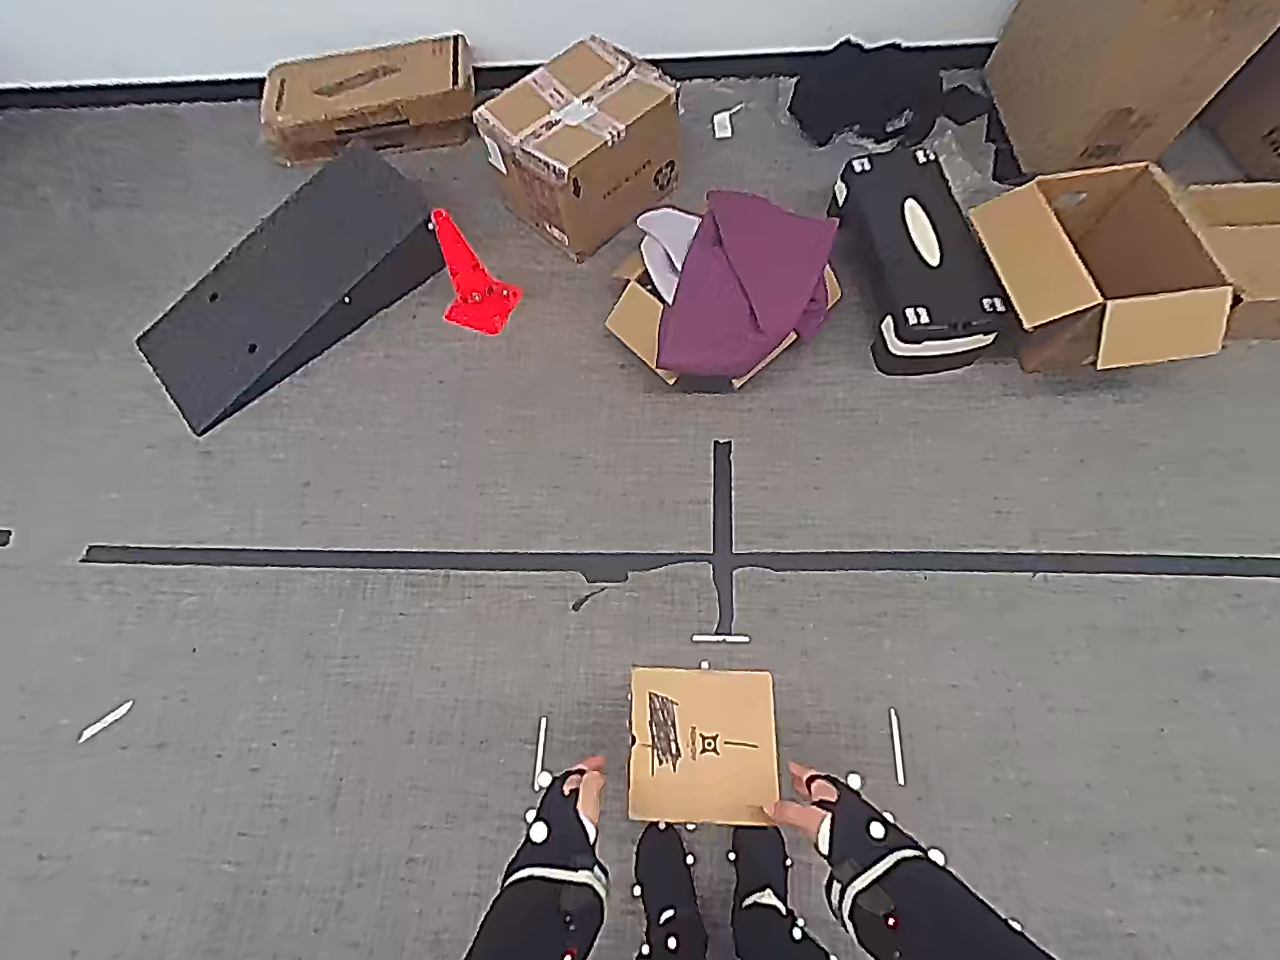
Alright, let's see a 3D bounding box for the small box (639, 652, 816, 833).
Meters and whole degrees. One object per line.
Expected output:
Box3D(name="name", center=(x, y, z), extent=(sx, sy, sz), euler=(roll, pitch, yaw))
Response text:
Box3D(name="small box", center=(0.093, 0.298, 0.634), extent=(0.179, 0.176, 0.168), euler=(0, 68, 3))
